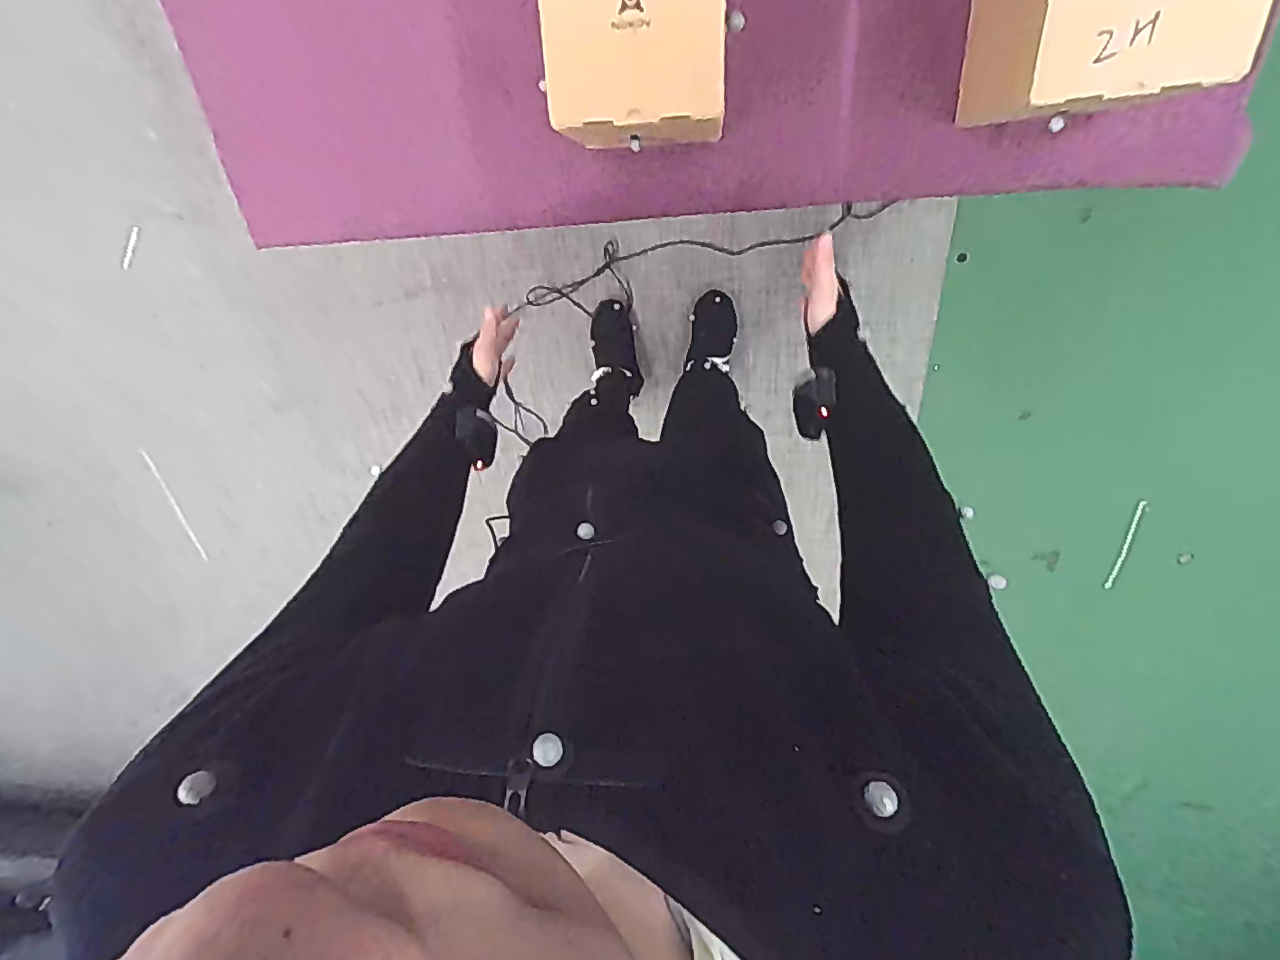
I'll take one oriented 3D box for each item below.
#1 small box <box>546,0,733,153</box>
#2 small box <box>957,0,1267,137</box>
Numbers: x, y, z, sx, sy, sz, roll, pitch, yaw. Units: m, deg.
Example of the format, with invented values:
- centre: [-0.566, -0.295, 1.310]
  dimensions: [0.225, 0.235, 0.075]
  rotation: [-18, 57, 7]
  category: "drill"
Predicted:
- centre: [0.005, -0.441, 0.546]
  dimensions: [0.168, 0.176, 0.179]
  rotation: [0, 118, 5]
  category: "small box"
- centre: [0.422, -0.434, 0.500]
  dimensions: [0.168, 0.176, 0.179]
  rotation: [-1, 119, 8]
  category: "small box"
